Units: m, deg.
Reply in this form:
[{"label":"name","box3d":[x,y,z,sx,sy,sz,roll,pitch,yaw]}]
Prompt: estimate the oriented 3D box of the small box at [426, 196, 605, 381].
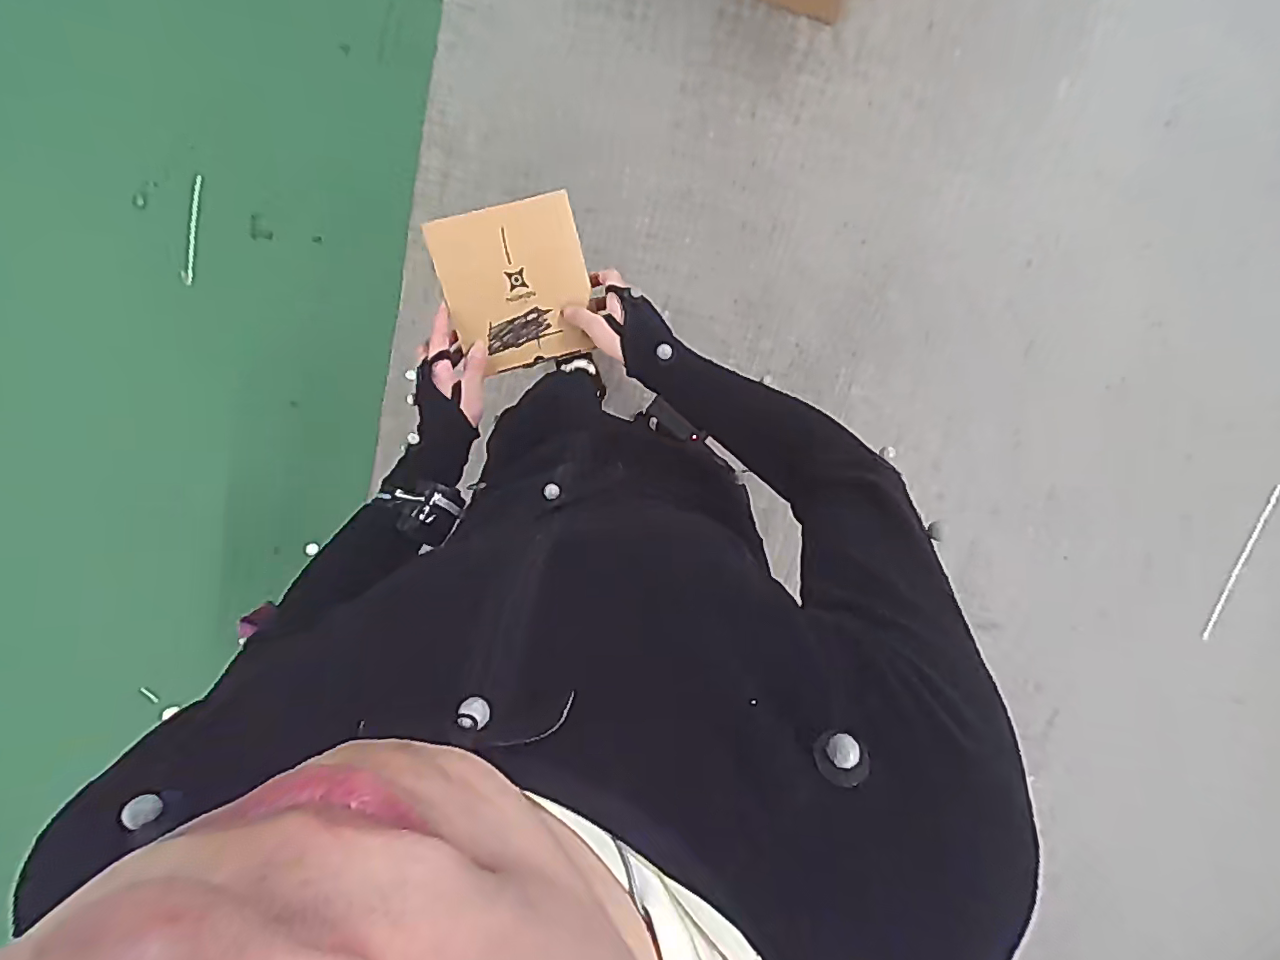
[{"label":"small box","box3d":[-0.147,-0.237,0.690,0.168,0.176,0.179,-15,107,-5]}]
